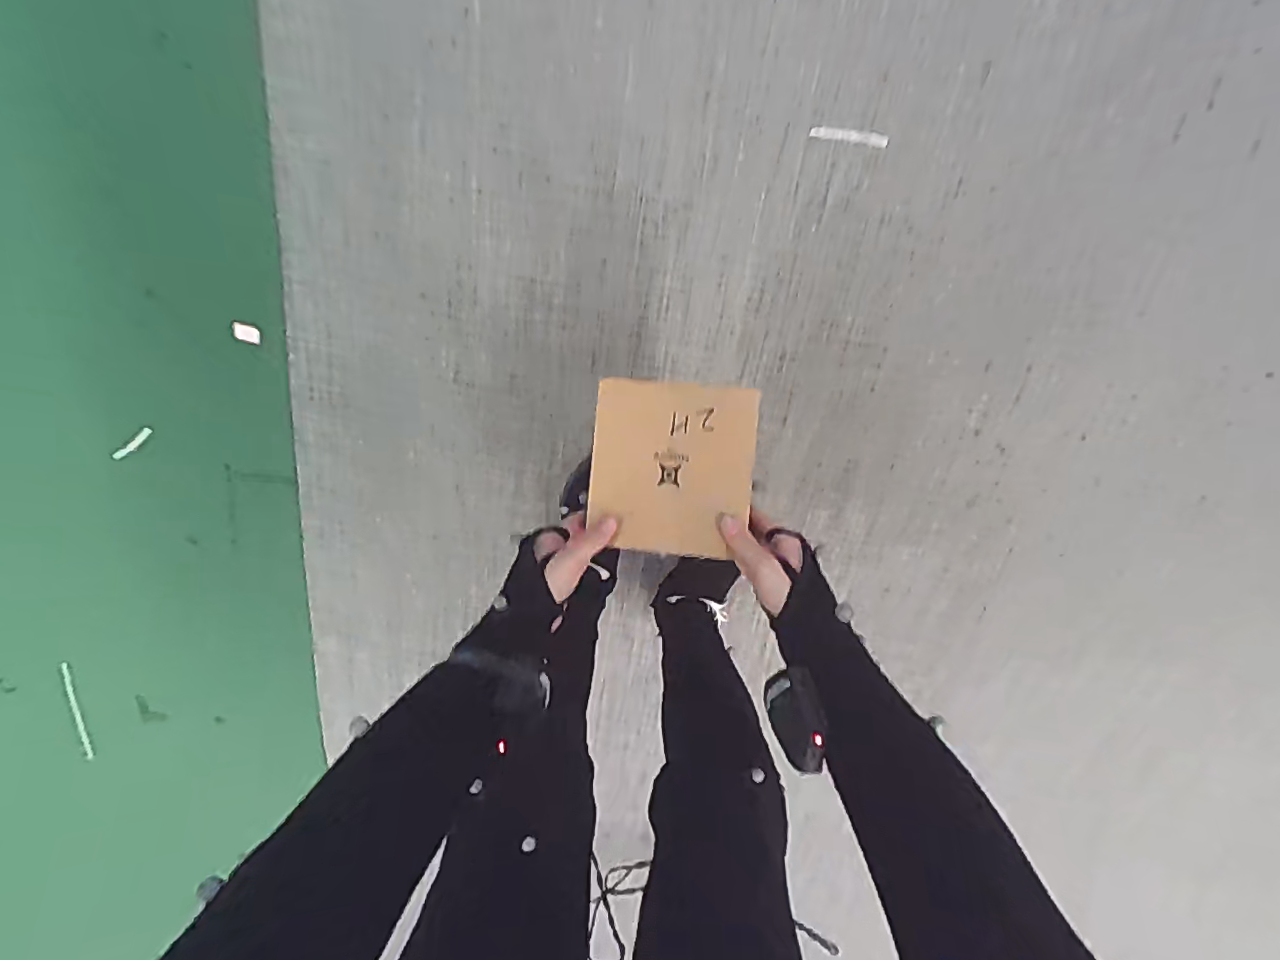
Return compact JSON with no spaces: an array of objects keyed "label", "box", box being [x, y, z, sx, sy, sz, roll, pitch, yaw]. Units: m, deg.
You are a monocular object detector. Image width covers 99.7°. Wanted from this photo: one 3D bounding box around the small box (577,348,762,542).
[{"label":"small box","box":[0.037,-0.037,0.610,0.168,0.176,0.179,7,91,6]}]
